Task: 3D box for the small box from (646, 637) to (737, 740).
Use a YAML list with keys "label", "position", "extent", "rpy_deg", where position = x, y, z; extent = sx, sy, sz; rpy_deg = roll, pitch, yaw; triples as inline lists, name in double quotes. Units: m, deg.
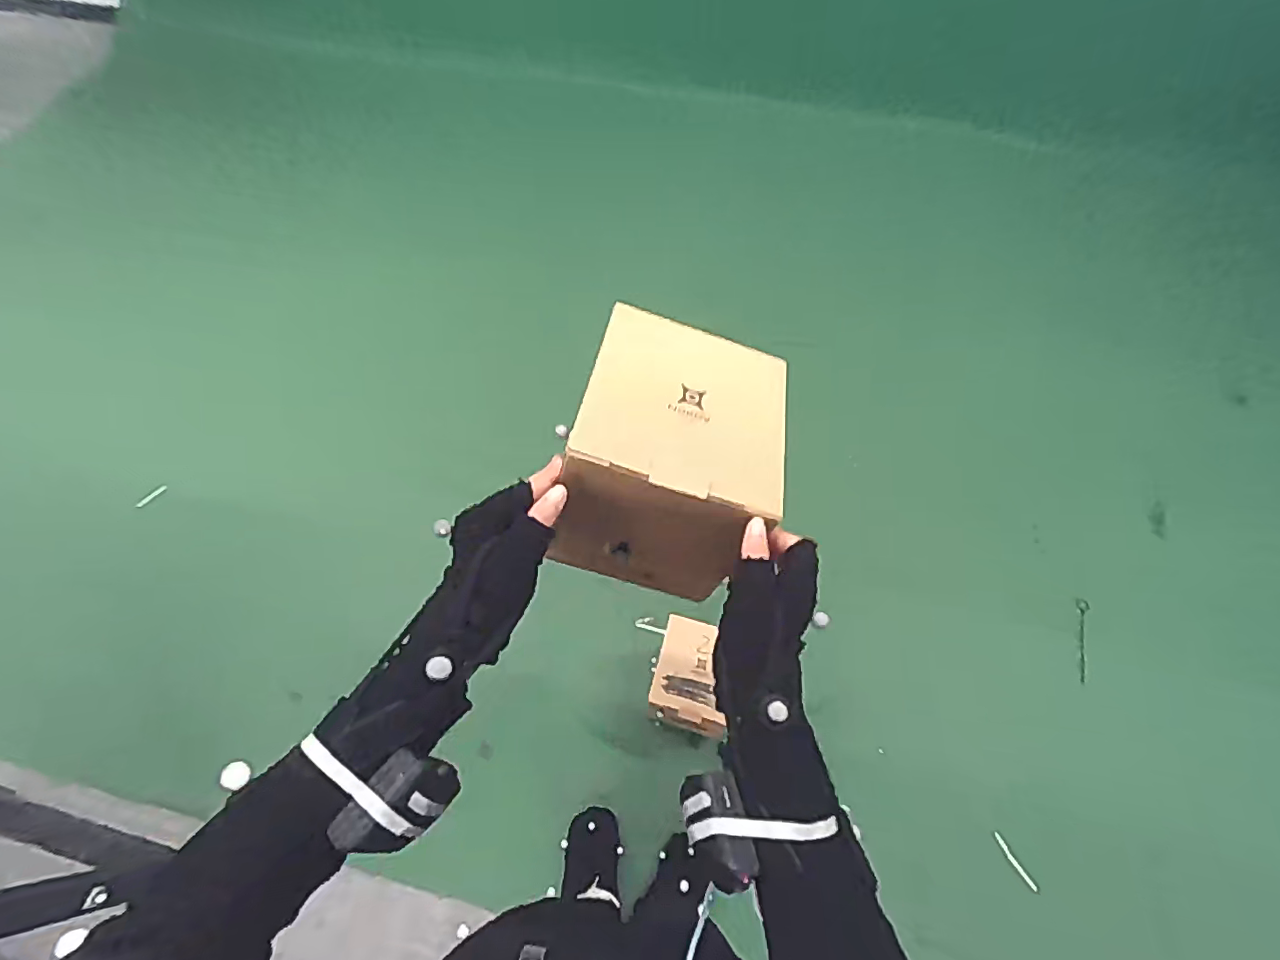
- label: "small box"
  position: [0.117, 0.491, 1.257]
  extent: [0.168, 0.176, 0.179]
  rpy_deg: [15, 62, 7]
